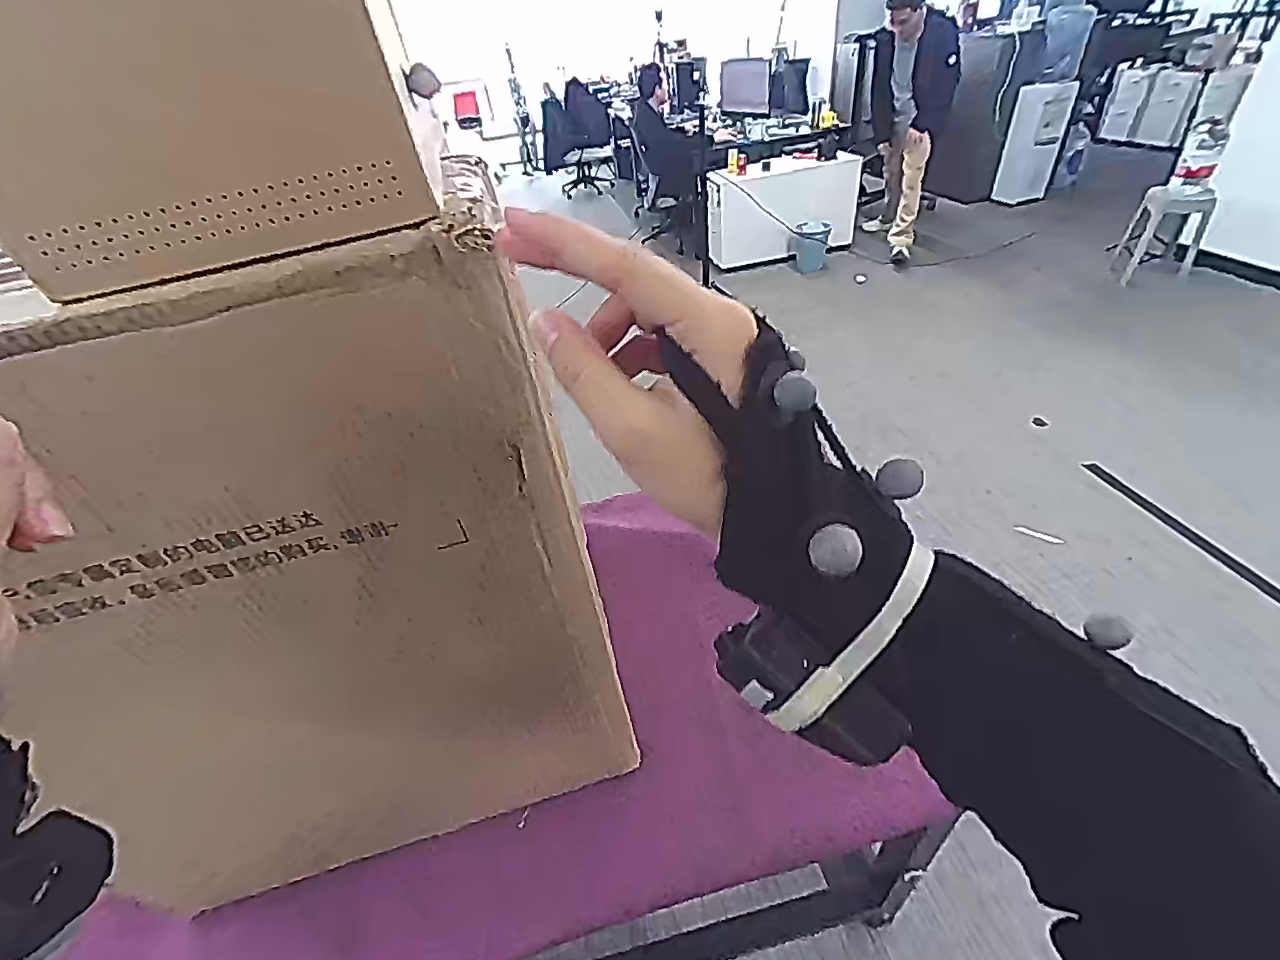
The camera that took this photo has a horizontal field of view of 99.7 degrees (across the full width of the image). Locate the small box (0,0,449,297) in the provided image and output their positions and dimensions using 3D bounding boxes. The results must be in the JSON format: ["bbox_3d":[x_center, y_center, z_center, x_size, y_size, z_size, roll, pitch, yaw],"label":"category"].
[{"bbox_3d":[-0.210,-0.206,0.261,0.179,0.176,0.168,-17,40,-8],"label":"small box"}]
